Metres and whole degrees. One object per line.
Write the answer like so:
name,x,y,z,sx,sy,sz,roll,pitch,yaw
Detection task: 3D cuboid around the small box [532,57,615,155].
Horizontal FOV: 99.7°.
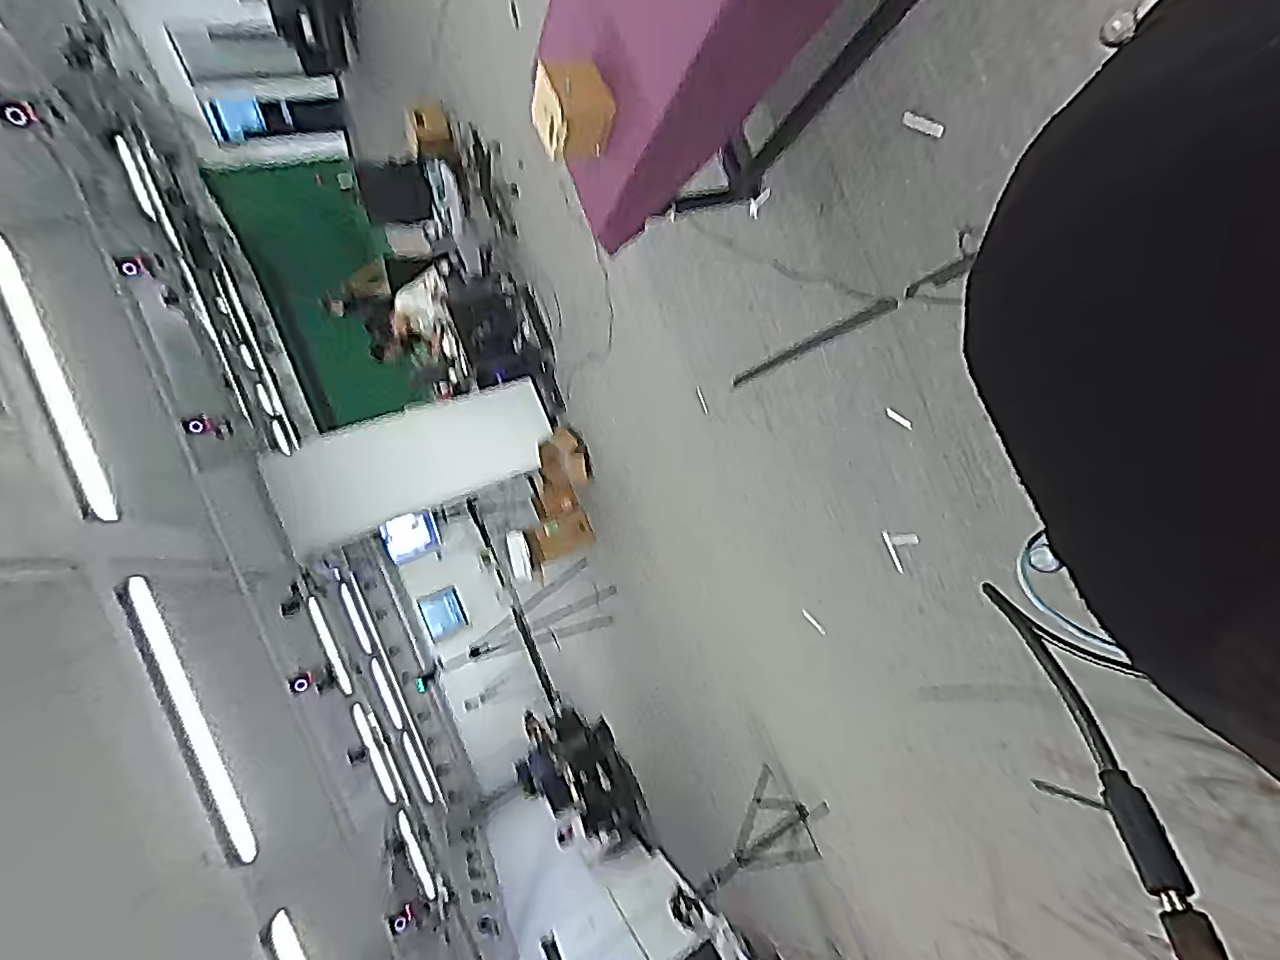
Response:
small box,-0.192,-1.083,1.562,0.179,0.176,0.168,65,156,8
